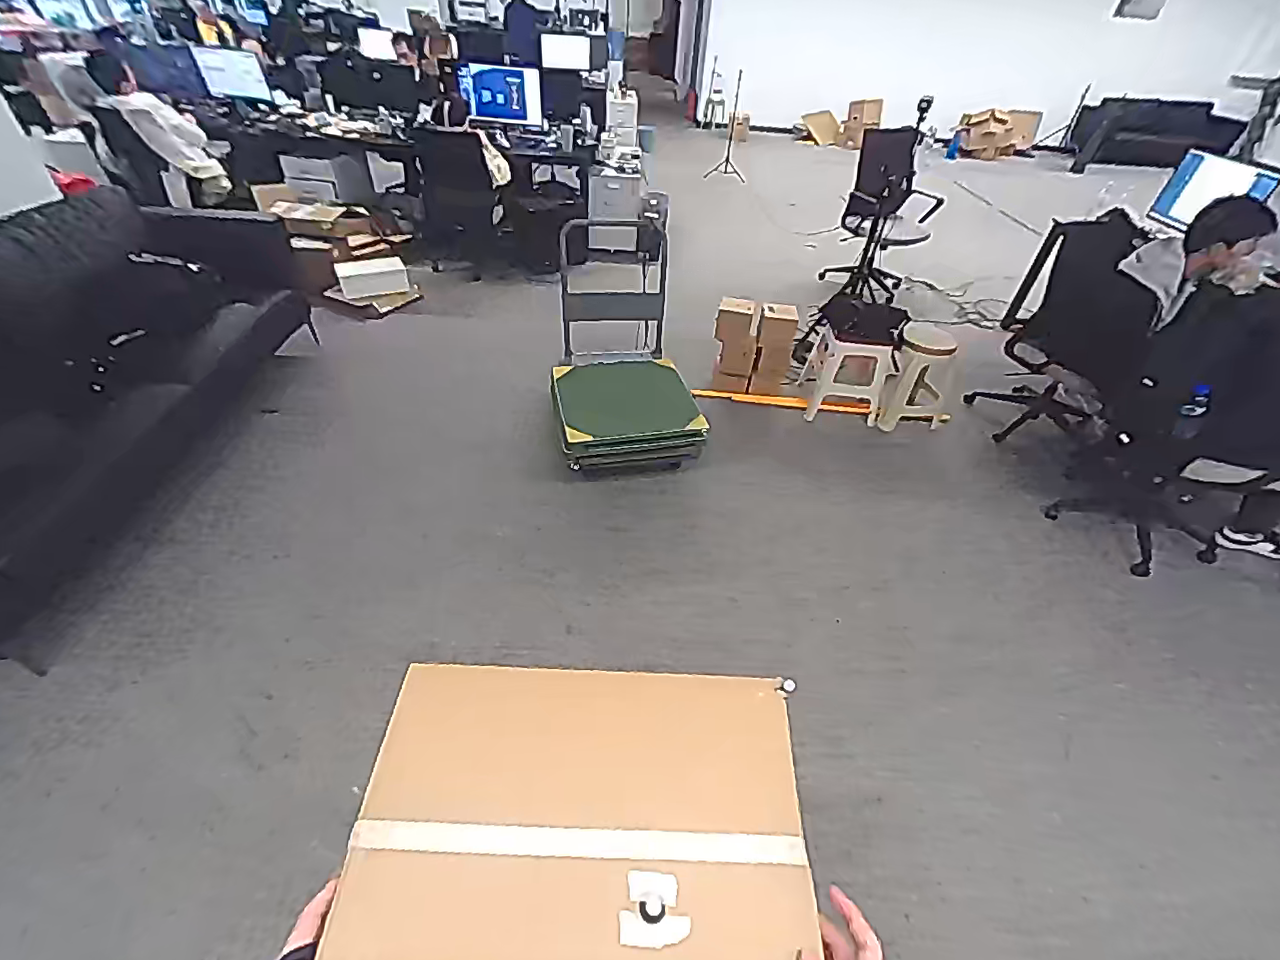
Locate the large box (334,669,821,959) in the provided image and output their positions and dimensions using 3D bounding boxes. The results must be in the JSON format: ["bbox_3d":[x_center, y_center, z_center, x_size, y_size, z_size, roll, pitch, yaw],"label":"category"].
[{"bbox_3d":[-0.053,0.426,0.604,0.408,0.320,0.320,2,49,0],"label":"large box"}]
